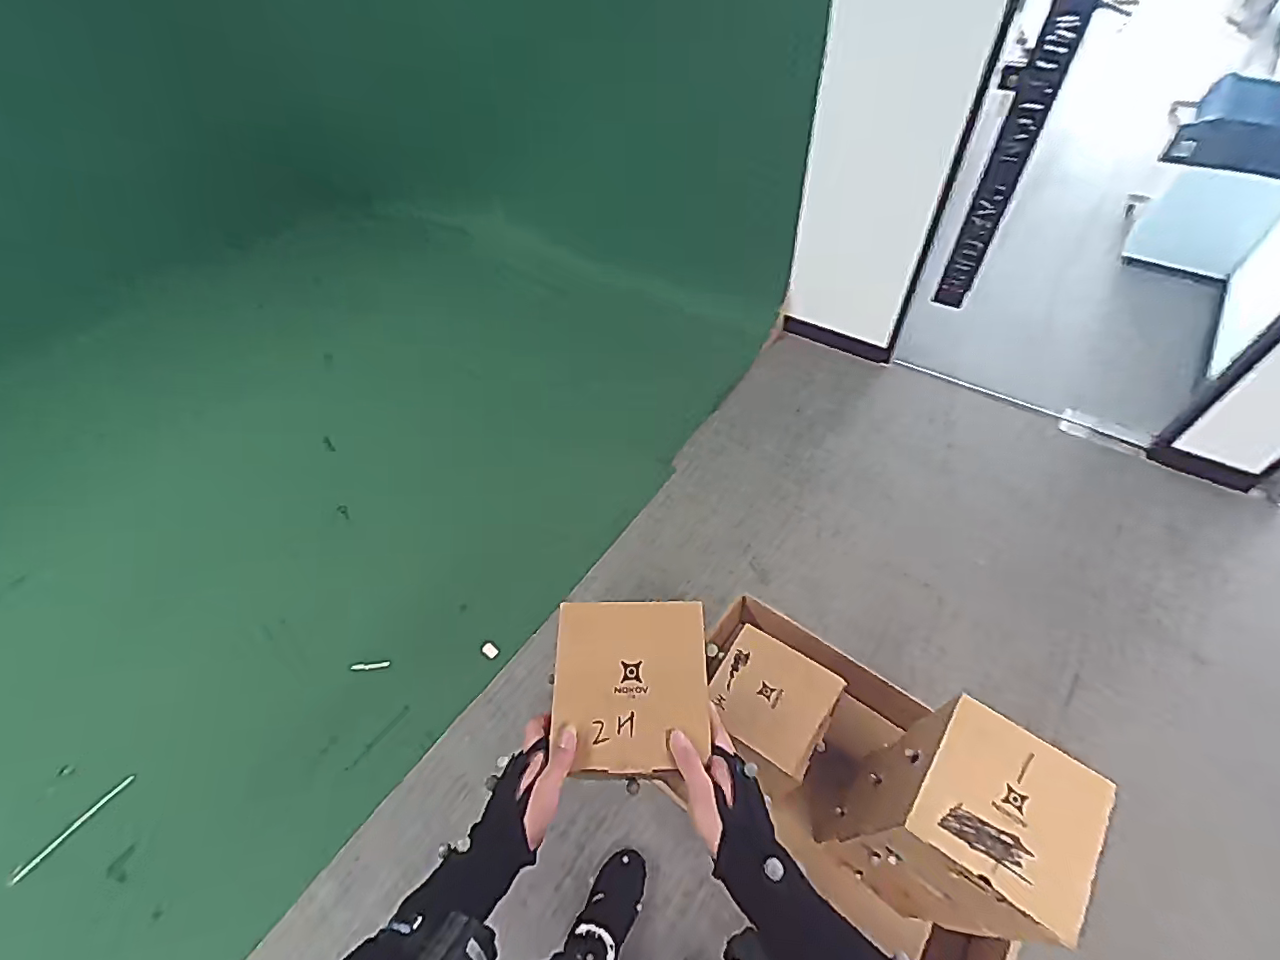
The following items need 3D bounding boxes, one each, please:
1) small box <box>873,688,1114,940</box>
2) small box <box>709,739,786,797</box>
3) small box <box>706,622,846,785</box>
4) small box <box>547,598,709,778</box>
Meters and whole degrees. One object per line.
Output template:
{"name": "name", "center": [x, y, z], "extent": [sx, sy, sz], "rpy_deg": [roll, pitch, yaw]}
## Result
{"name": "small box", "center": [0.401, 0.390, 0.643], "extent": [0.168, 0.176, 0.179], "rpy_deg": [31, 61, 25]}
{"name": "small box", "center": [0.217, 0.466, 1.016], "extent": [0.179, 0.176, 0.168], "rpy_deg": [31, 62, 23]}
{"name": "small box", "center": [0.204, 0.370, 0.884], "extent": [0.179, 0.176, 0.168], "rpy_deg": [28, 61, 23]}
{"name": "small box", "center": [-0.010, 0.253, 0.646], "extent": [0.168, 0.176, 0.179], "rpy_deg": [-1, 60, 1]}
